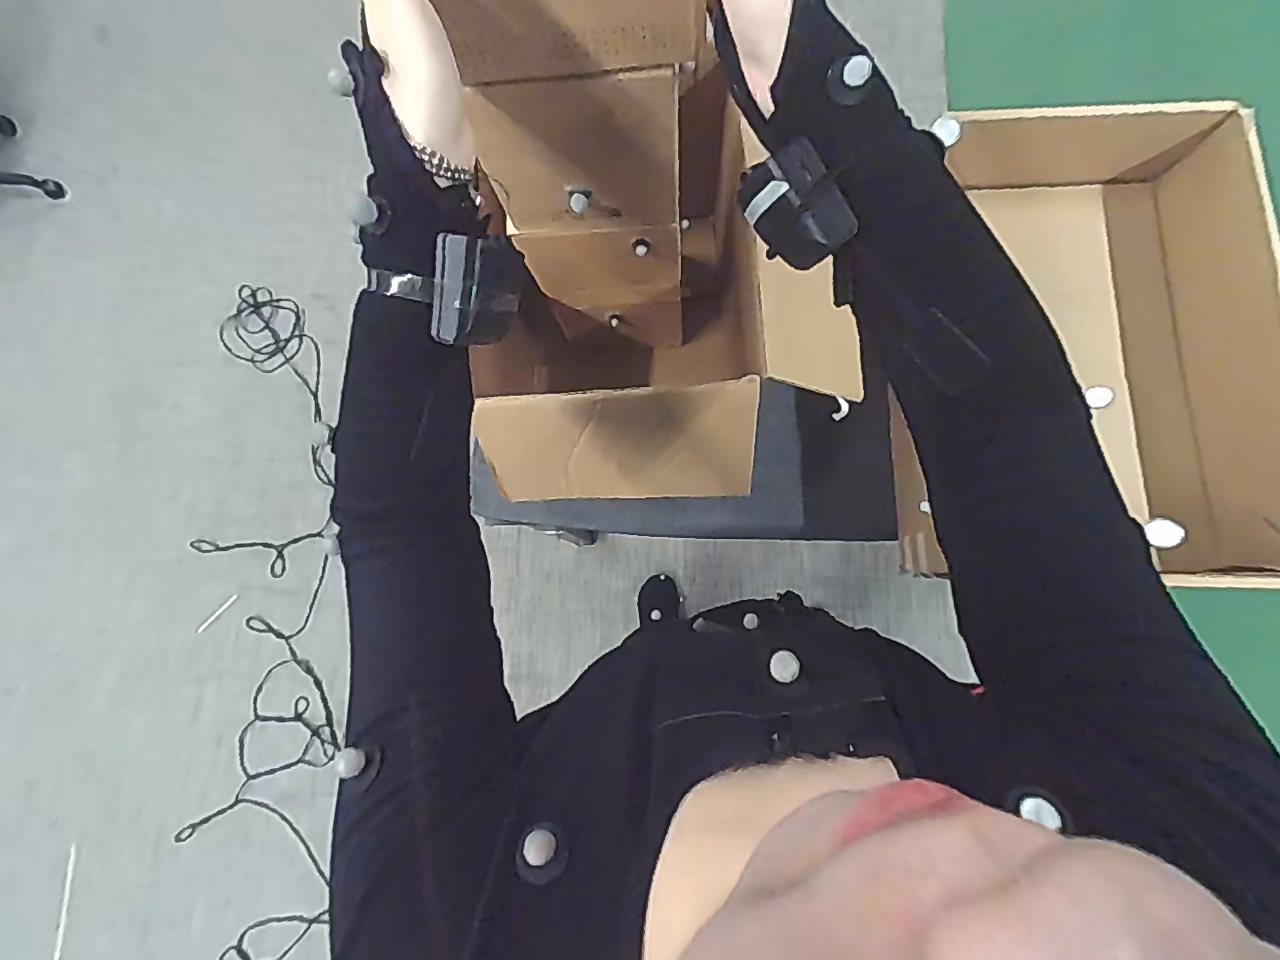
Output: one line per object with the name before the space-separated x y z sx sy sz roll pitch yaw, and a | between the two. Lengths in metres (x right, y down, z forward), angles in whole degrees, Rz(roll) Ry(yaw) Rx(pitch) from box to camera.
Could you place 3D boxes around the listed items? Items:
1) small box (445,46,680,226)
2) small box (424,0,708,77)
small box | -0.051 -0.350 0.468 0.168 0.176 0.179 -1 83 5
small box | -0.052 -0.367 0.301 0.179 0.176 0.168 -3 82 5
